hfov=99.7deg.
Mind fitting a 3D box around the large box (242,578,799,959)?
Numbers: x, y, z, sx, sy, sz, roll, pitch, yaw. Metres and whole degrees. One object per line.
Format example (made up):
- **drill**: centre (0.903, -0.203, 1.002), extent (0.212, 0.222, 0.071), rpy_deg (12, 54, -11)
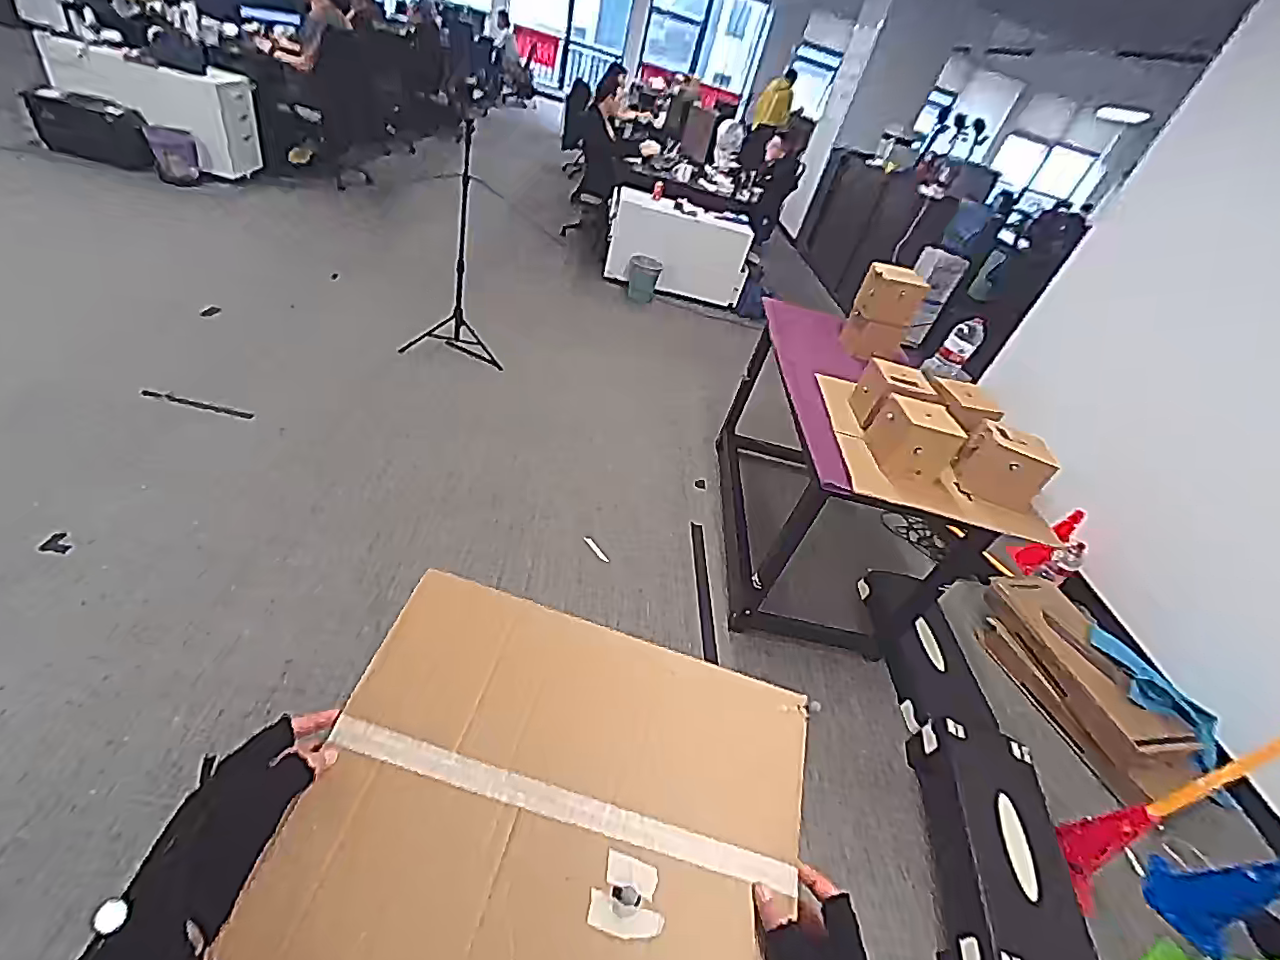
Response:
- **large box**: centre (-0.090, 0.361, 0.588), extent (0.408, 0.320, 0.320), rpy_deg (19, 53, -1)
